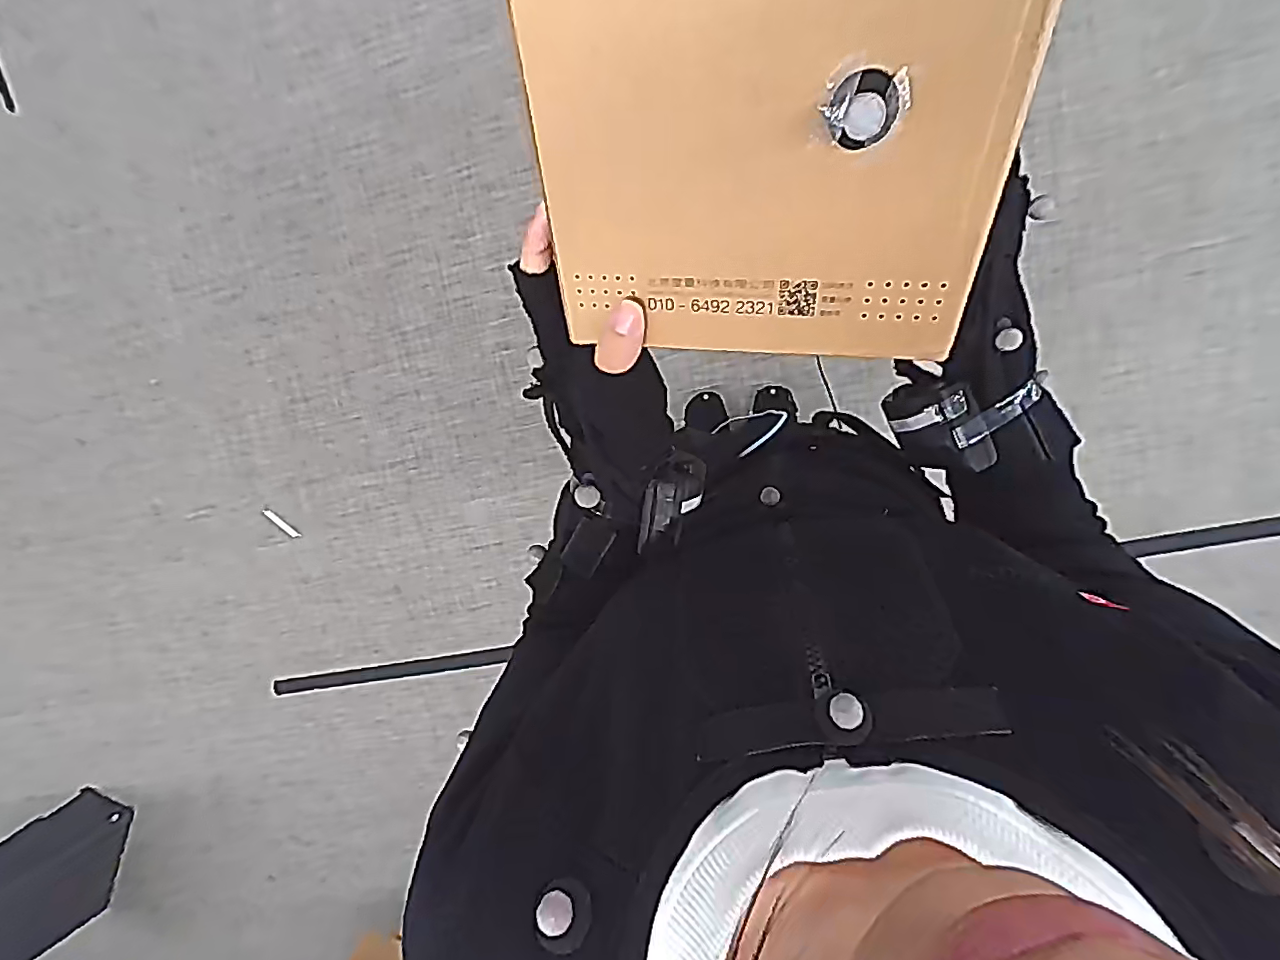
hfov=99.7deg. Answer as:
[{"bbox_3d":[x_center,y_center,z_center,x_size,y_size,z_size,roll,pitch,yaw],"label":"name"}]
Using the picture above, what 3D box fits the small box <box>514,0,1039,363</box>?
[{"bbox_3d":[0.064,-0.169,0.253,0.168,0.179,0.176,7,133,15],"label":"small box"}]
